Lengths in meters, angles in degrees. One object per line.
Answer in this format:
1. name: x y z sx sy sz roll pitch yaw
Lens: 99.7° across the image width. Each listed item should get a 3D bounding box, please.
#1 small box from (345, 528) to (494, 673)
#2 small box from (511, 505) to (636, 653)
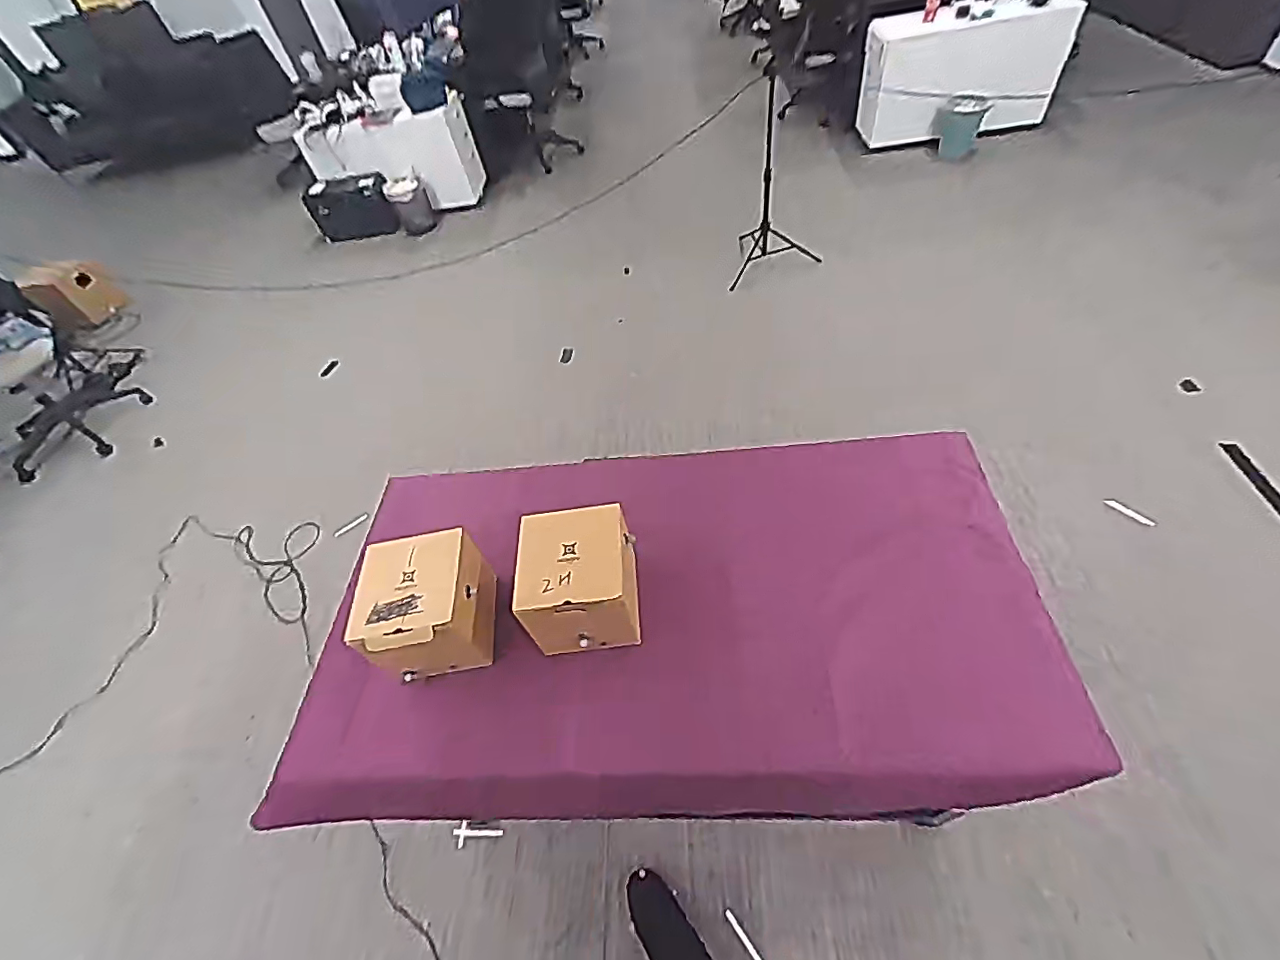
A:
1. small box: -0.354 0.210 0.908 0.168 0.176 0.179 -10 49 2
2. small box: -0.101 0.166 0.897 0.168 0.176 0.179 -8 51 5
